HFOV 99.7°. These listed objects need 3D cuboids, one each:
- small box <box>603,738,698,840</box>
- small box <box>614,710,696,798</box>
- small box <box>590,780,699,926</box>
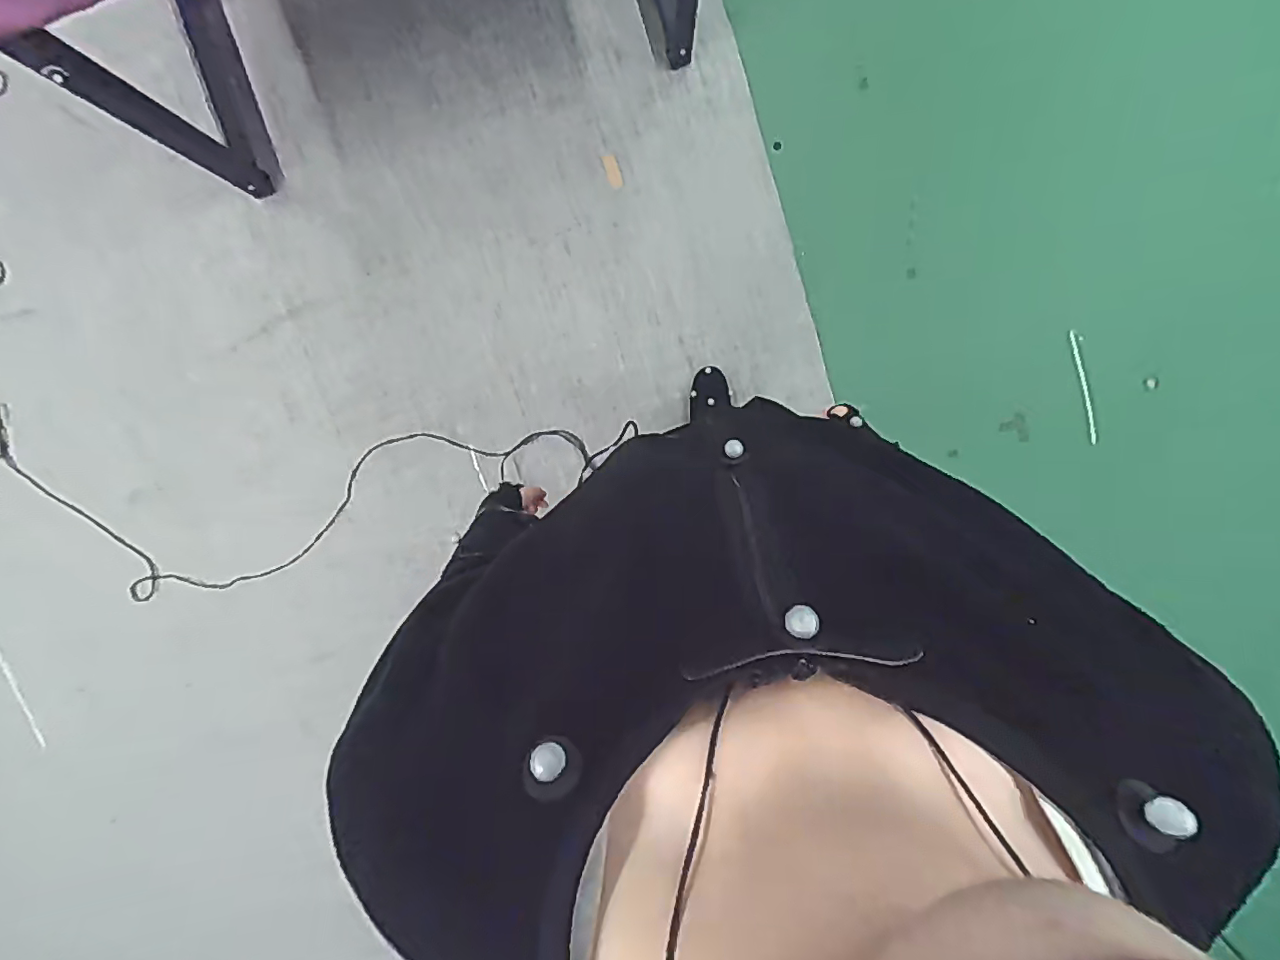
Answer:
[{"bbox_3d":[0.027,0.757,1.300,0.179,0.176,0.168,-21,93,5],"label":"small box"},{"bbox_3d":[0.040,0.753,1.463,0.168,0.176,0.179,-22,95,6],"label":"small box"},{"bbox_3d":[0.013,0.771,1.138,0.179,0.176,0.168,-21,93,6],"label":"small box"}]
